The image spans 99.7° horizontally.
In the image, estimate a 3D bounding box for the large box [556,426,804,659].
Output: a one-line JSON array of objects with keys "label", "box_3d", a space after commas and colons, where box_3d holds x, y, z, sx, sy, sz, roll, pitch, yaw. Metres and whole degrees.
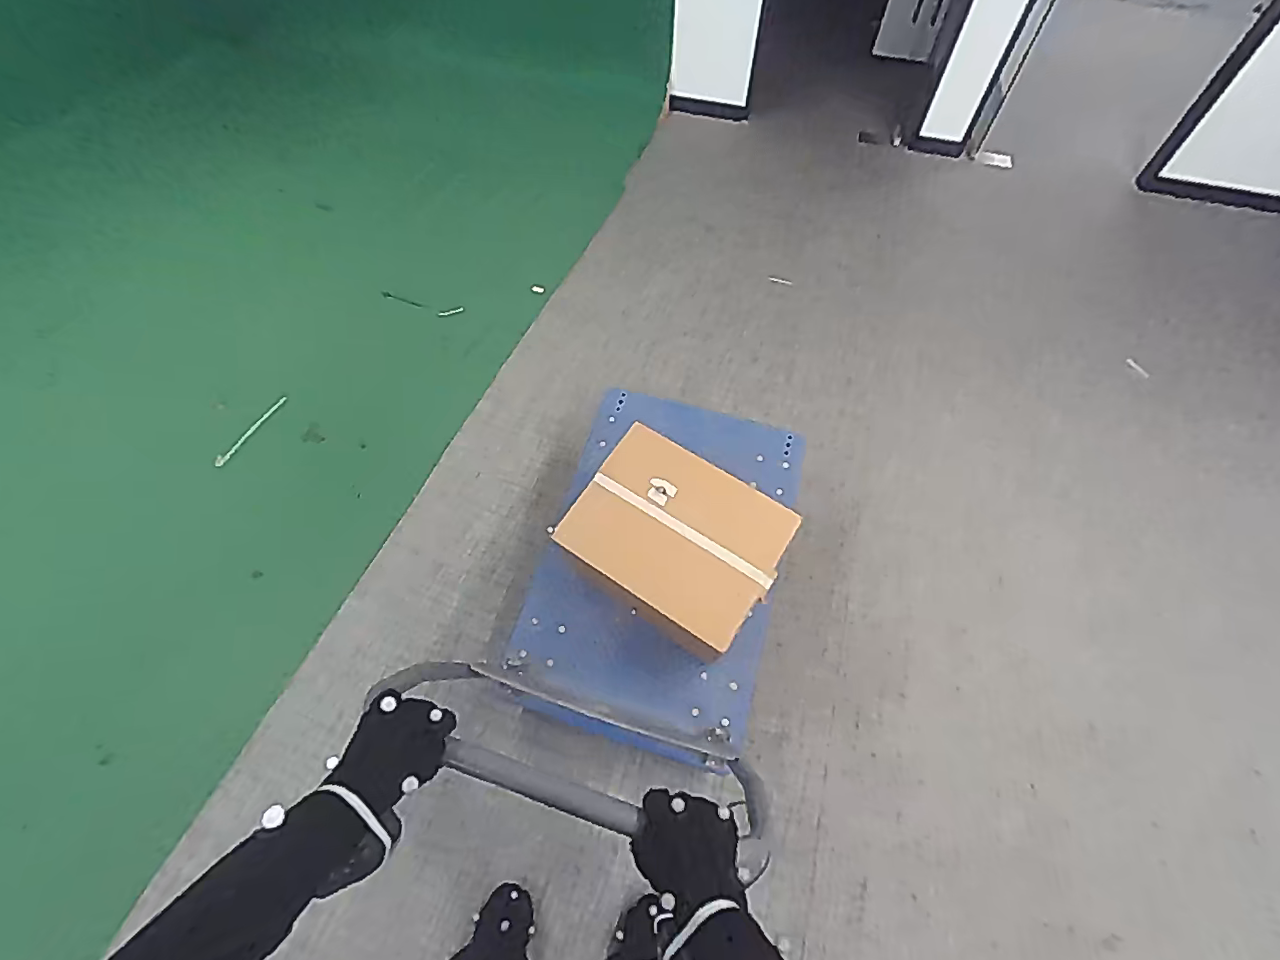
[{"label": "large box", "box_3d": [0.090, 0.151, 1.204, 0.408, 0.320, 0.320, 31, 73, 16]}]
